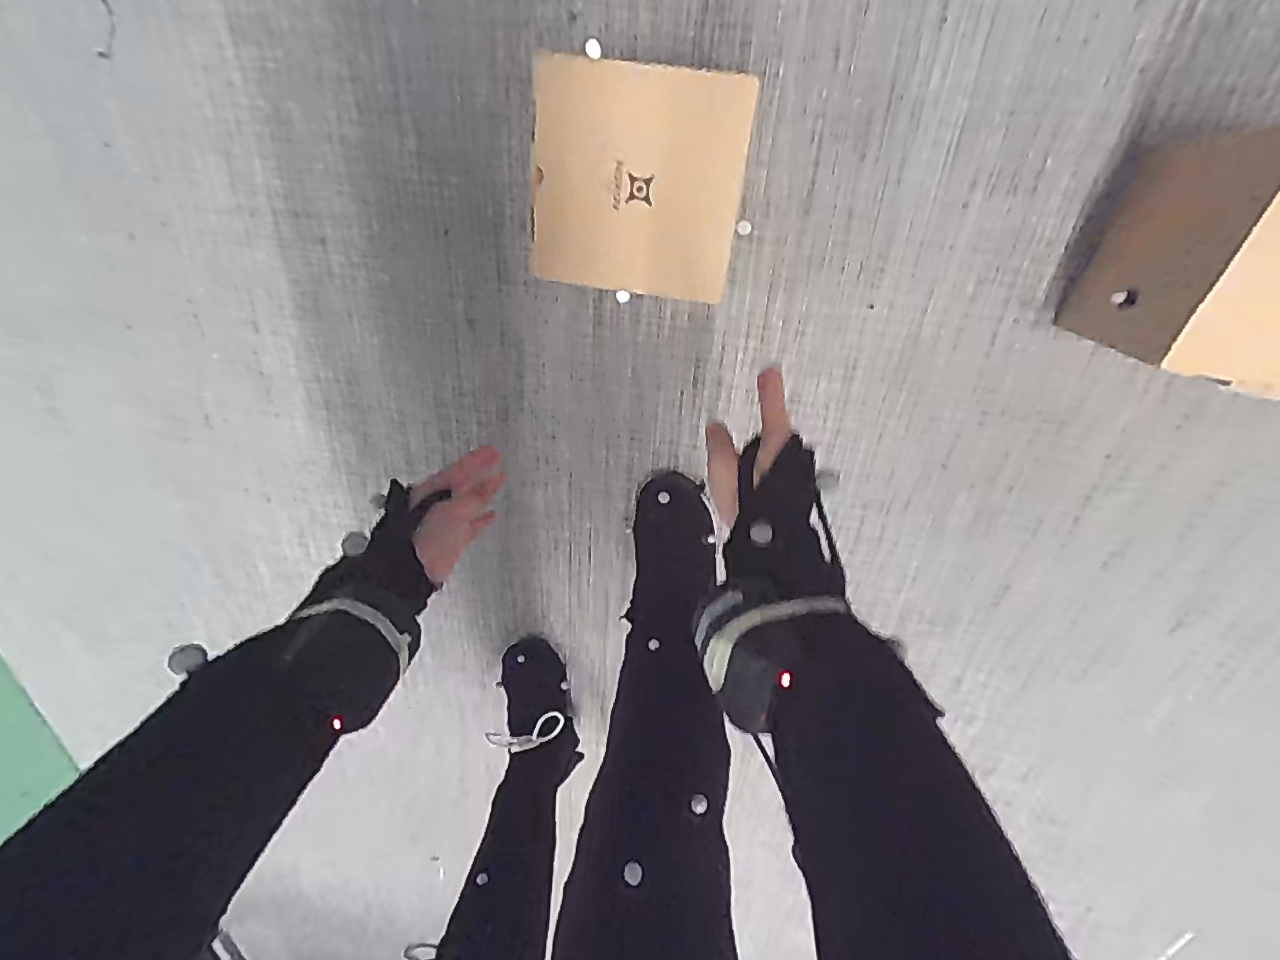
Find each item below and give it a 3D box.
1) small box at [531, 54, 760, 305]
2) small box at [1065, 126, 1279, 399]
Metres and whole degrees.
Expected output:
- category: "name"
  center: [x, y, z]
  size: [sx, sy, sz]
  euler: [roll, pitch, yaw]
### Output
- category: "small box"
  center: [0.008, -0.276, 0.511]
  size: [0.179, 0.176, 0.168]
  euler: [10, 119, 6]
- category: "small box"
  center: [0.521, -0.182, 0.466]
  size: [0.168, 0.176, 0.179]
  euler: [13, 118, 2]
